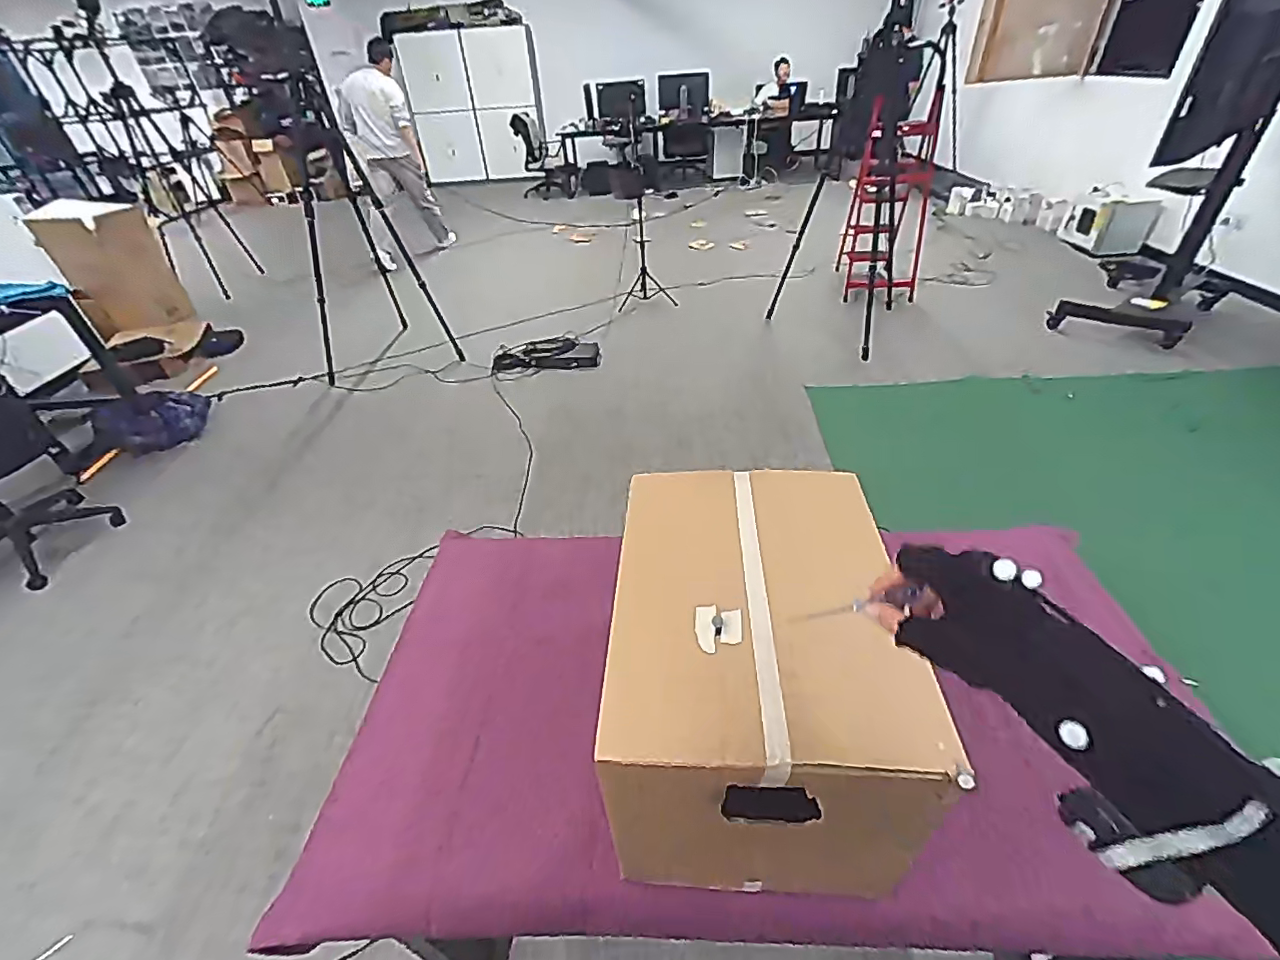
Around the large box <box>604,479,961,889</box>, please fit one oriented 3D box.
[{"bbox_3d":[0.137,0.243,0.711,0.320,0.320,0.408,0,39,5],"label":"large box"}]
